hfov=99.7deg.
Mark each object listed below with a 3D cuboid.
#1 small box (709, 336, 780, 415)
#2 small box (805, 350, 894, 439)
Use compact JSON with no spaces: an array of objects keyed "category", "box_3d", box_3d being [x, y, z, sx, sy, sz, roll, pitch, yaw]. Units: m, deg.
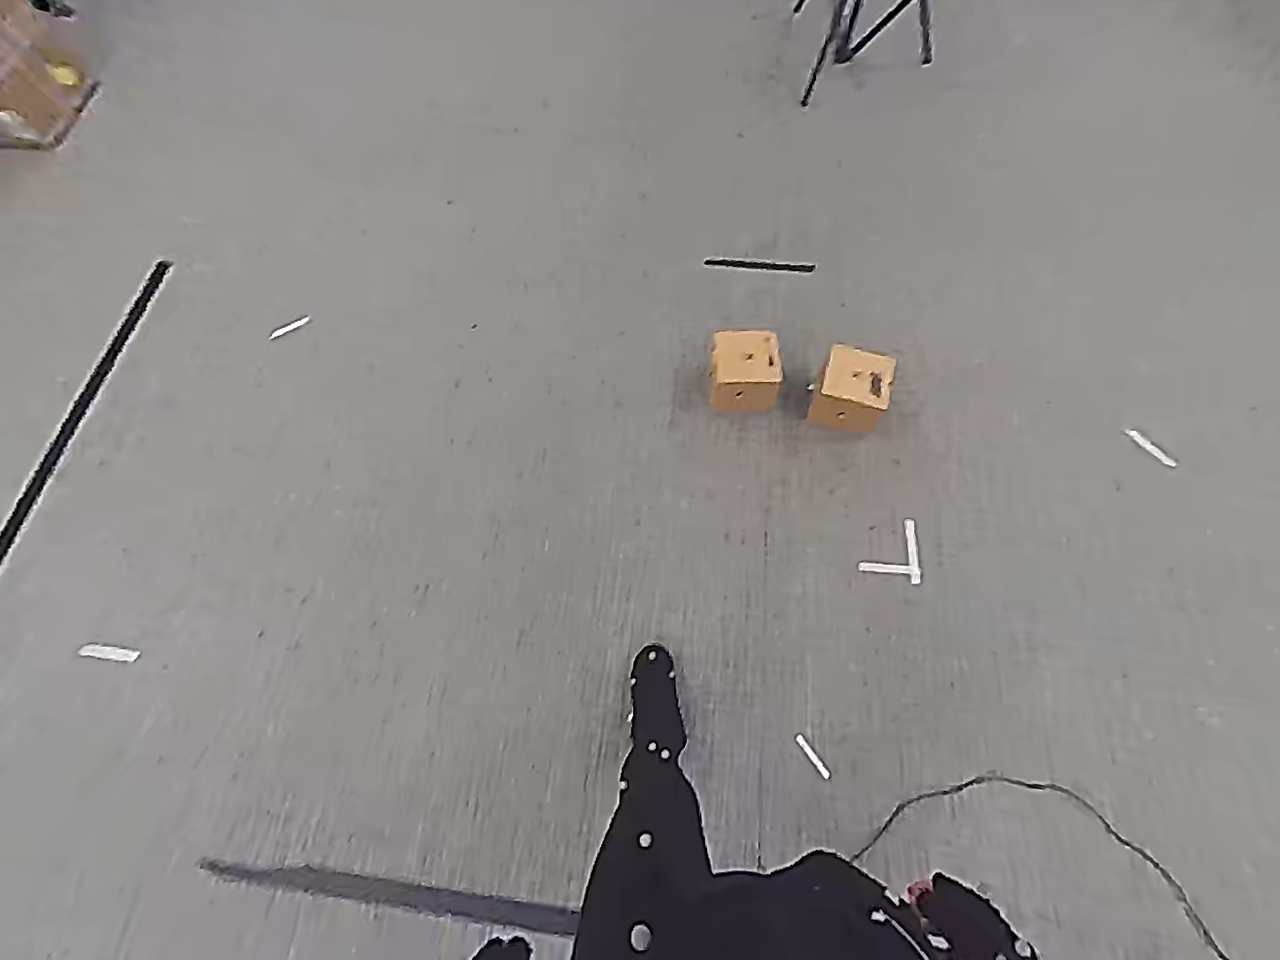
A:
[{"category":"small box","box_3d":[0.292,-0.296,1.552,0.179,0.176,0.168,-1,68,1]},{"category":"small box","box_3d":[0.586,-0.235,1.524,0.179,0.176,0.168,15,68,6]}]
